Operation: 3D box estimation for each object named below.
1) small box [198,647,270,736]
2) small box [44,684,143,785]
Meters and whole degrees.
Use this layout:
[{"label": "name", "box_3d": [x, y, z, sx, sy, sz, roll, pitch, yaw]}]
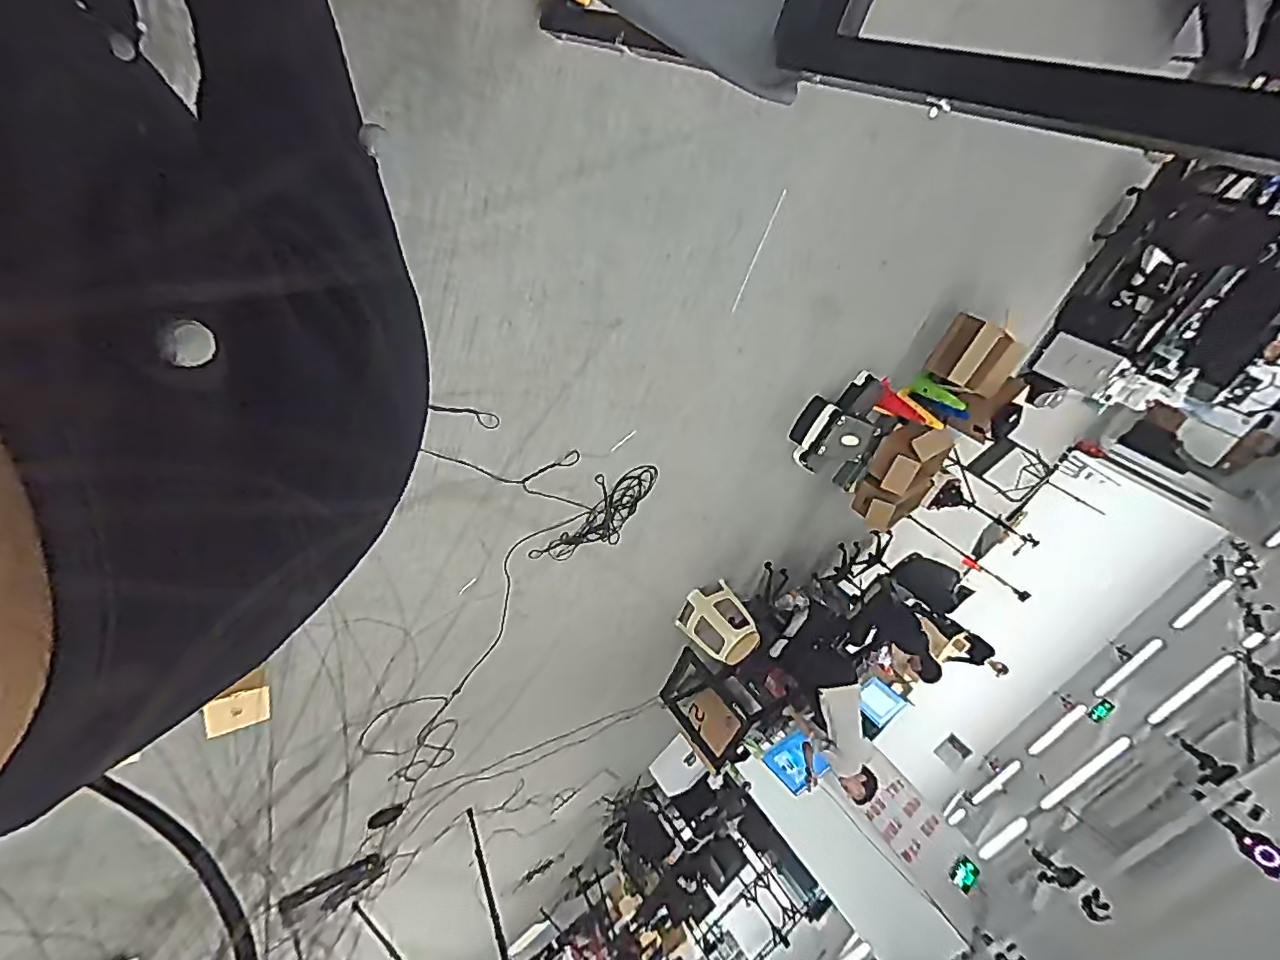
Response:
[{"label": "small box", "box_3d": [-1.297, 0.672, 1.731, 0.168, 0.176, 0.179, -9, 130, -41]}, {"label": "small box", "box_3d": [-1.534, 0.702, 1.521, 0.168, 0.176, 0.179, -12, 133, -37]}]
